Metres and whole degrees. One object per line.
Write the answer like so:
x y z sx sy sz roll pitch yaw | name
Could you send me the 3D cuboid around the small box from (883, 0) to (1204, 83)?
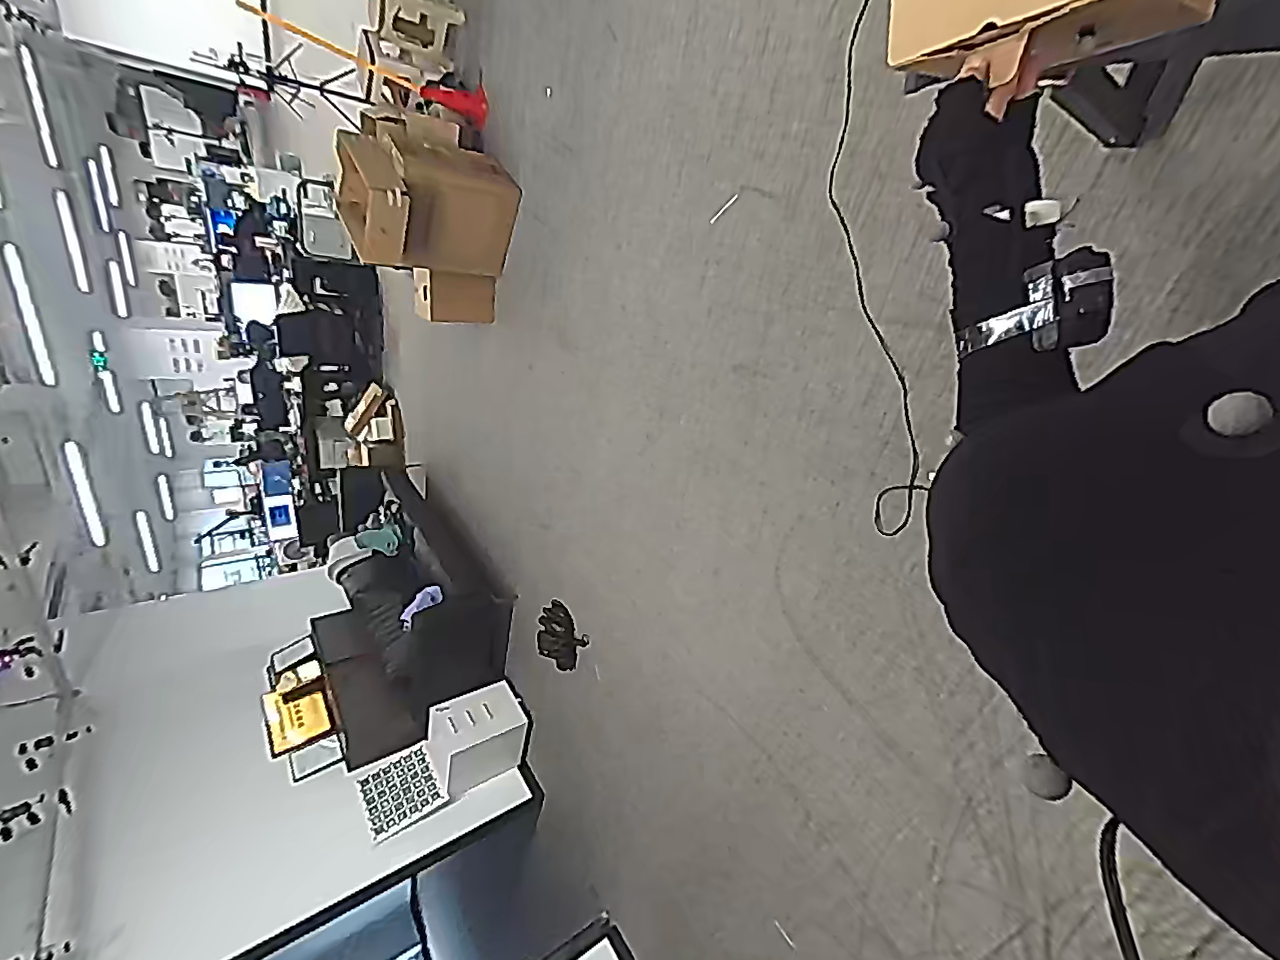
0.312 -0.424 0.407 0.168 0.176 0.179 25 126 52 | small box
